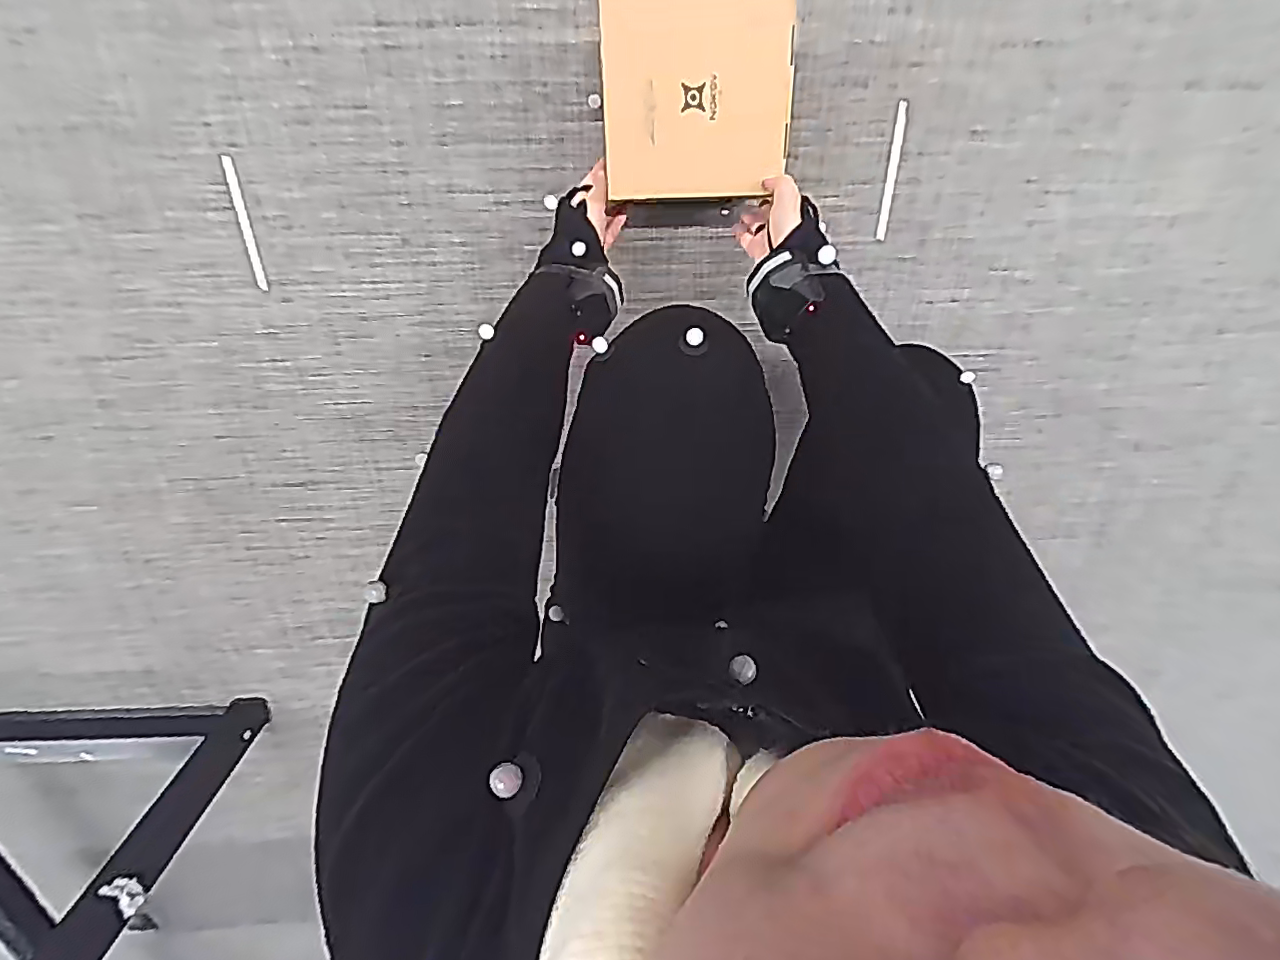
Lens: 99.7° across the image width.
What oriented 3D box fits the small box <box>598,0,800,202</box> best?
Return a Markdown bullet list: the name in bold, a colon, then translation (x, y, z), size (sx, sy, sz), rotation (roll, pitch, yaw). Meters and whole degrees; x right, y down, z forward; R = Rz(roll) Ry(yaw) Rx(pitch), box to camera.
- **small box**: translation (0.047, -0.384, 0.559), size (0.179, 0.176, 0.168), rotation (-2, 116, -2)
